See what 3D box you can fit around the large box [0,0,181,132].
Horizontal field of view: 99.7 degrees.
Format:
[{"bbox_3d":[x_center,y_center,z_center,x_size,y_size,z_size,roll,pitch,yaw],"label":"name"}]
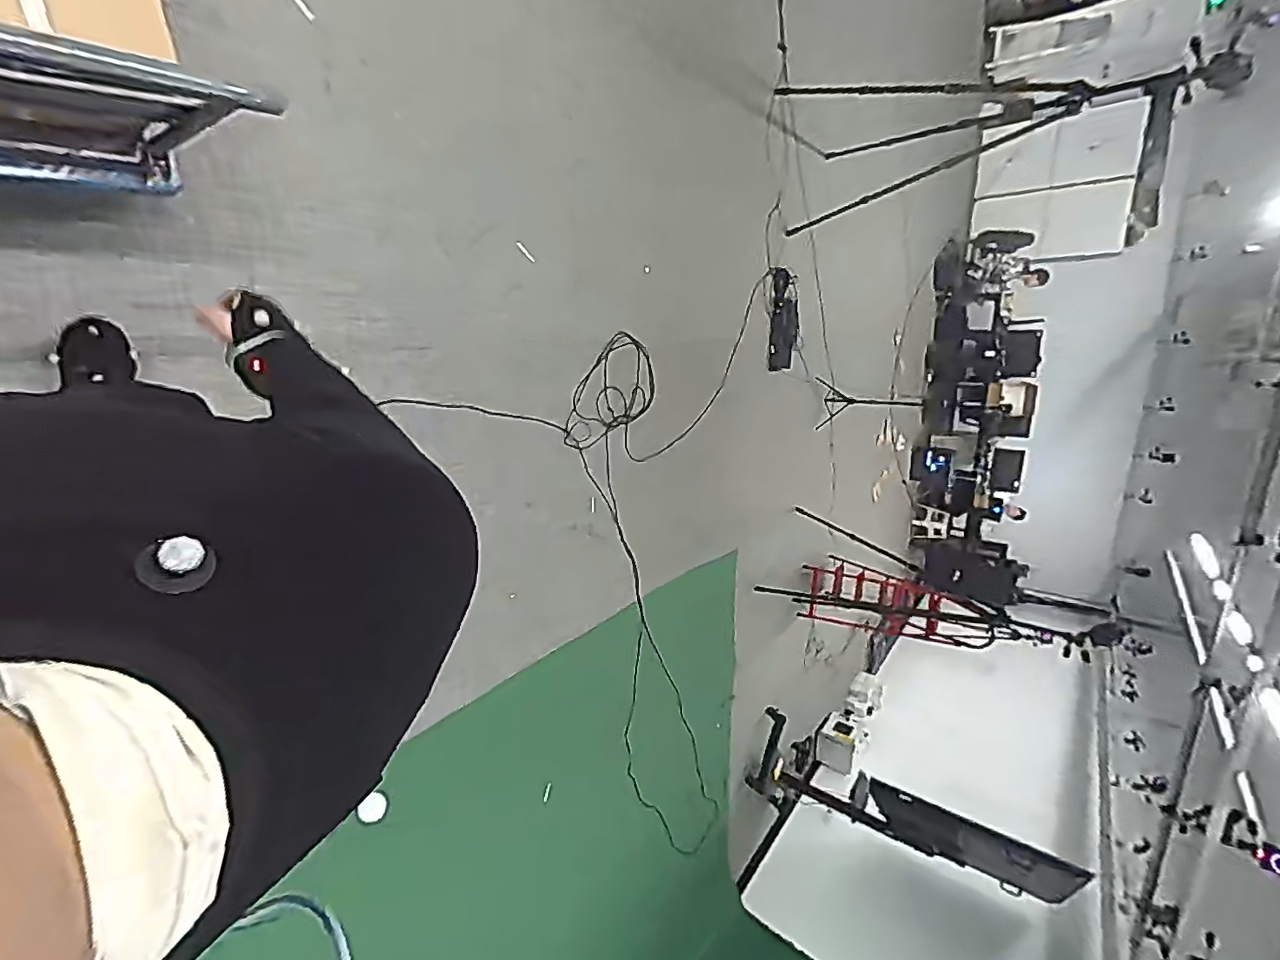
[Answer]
[{"bbox_3d":[-0.968,-0.794,0.793,0.320,0.320,0.408,-27,117,-47],"label":"large box"}]
